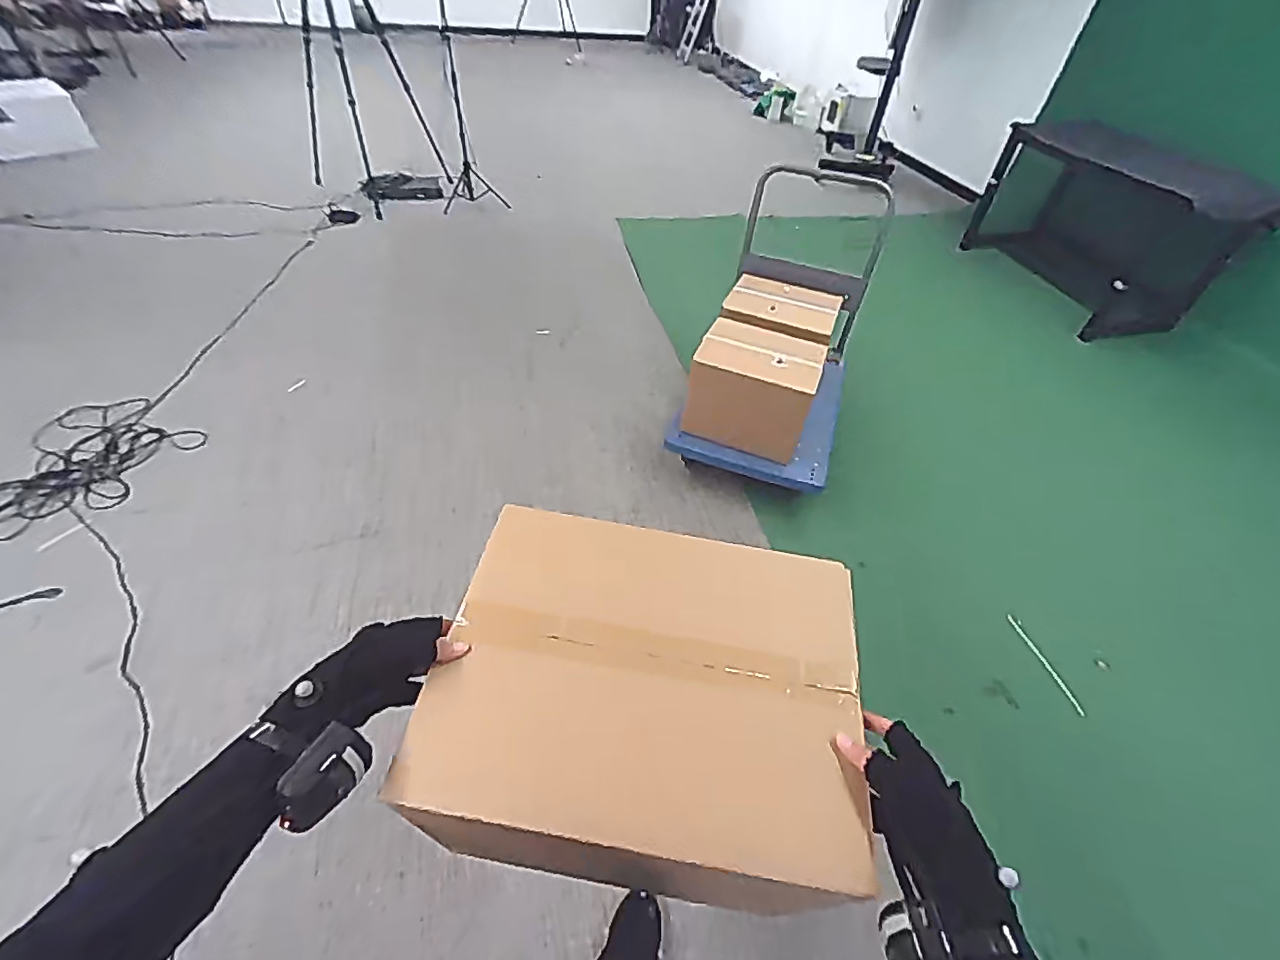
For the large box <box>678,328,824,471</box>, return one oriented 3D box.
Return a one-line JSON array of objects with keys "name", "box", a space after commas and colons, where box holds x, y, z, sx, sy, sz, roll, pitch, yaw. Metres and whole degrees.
[{"name": "large box", "box": [0.384, -0.288, 1.910, 0.408, 0.320, 0.320, 20, 46, 12]}]
